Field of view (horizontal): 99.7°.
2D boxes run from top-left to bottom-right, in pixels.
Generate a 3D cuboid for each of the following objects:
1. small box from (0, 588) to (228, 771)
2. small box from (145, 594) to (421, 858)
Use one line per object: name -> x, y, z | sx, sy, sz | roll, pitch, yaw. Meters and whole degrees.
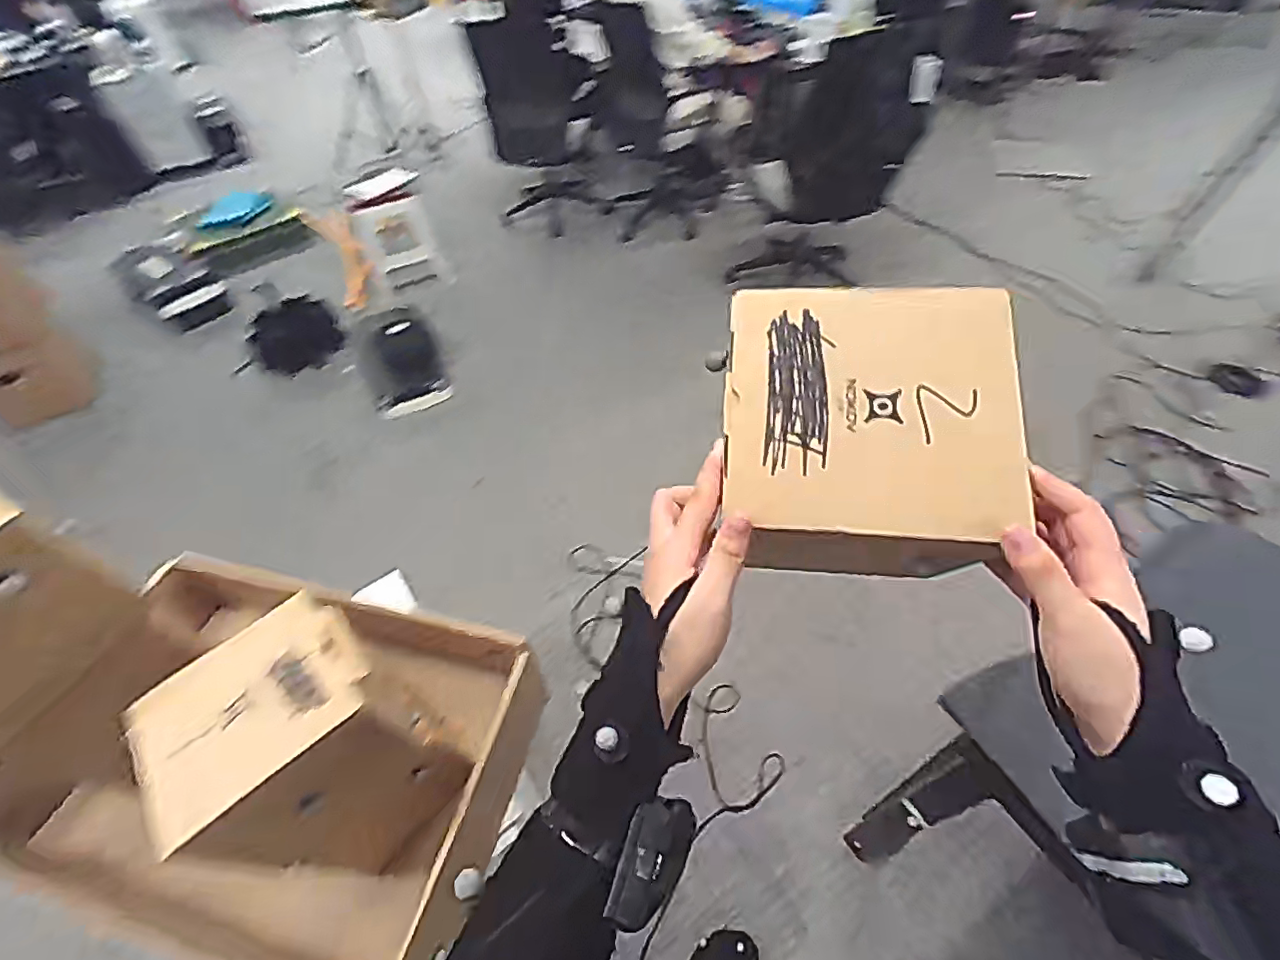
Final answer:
small box -> -0.635, 0.216, 0.643 | 0.179, 0.176, 0.168 | 25, 58, 20
small box -> -0.363, 0.264, 0.581 | 0.179, 0.176, 0.168 | -36, 55, -21
